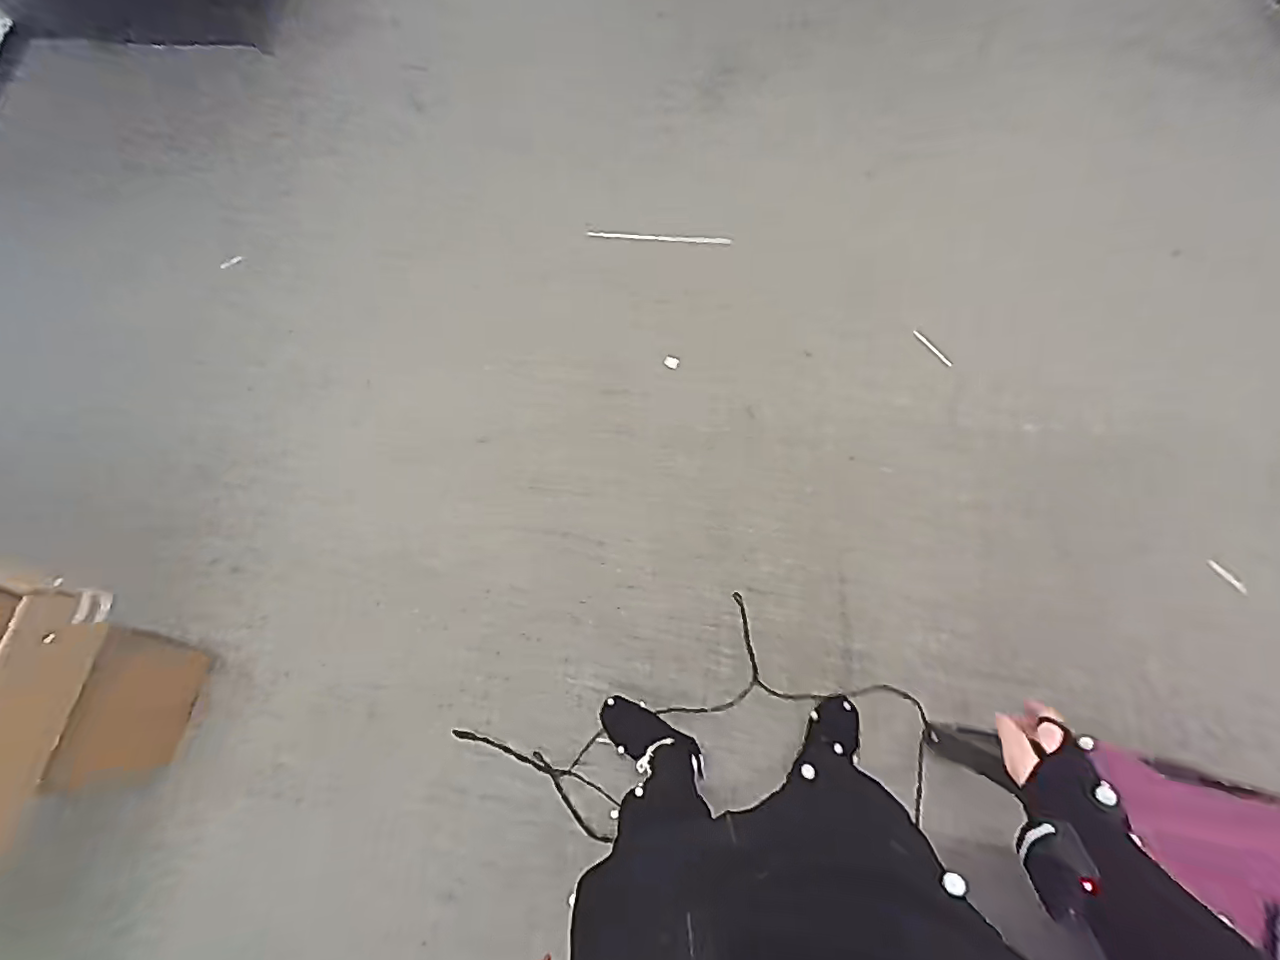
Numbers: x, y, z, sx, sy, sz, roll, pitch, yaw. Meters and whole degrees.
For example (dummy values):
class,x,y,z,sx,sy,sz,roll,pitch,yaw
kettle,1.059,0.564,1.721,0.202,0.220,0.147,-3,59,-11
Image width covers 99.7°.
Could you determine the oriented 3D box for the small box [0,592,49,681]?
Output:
class,x,y,z,sx,sy,sz,roll,pitch,yaw
small box,-1.452,0.331,1.151,0.179,0.176,0.168,15,77,10
